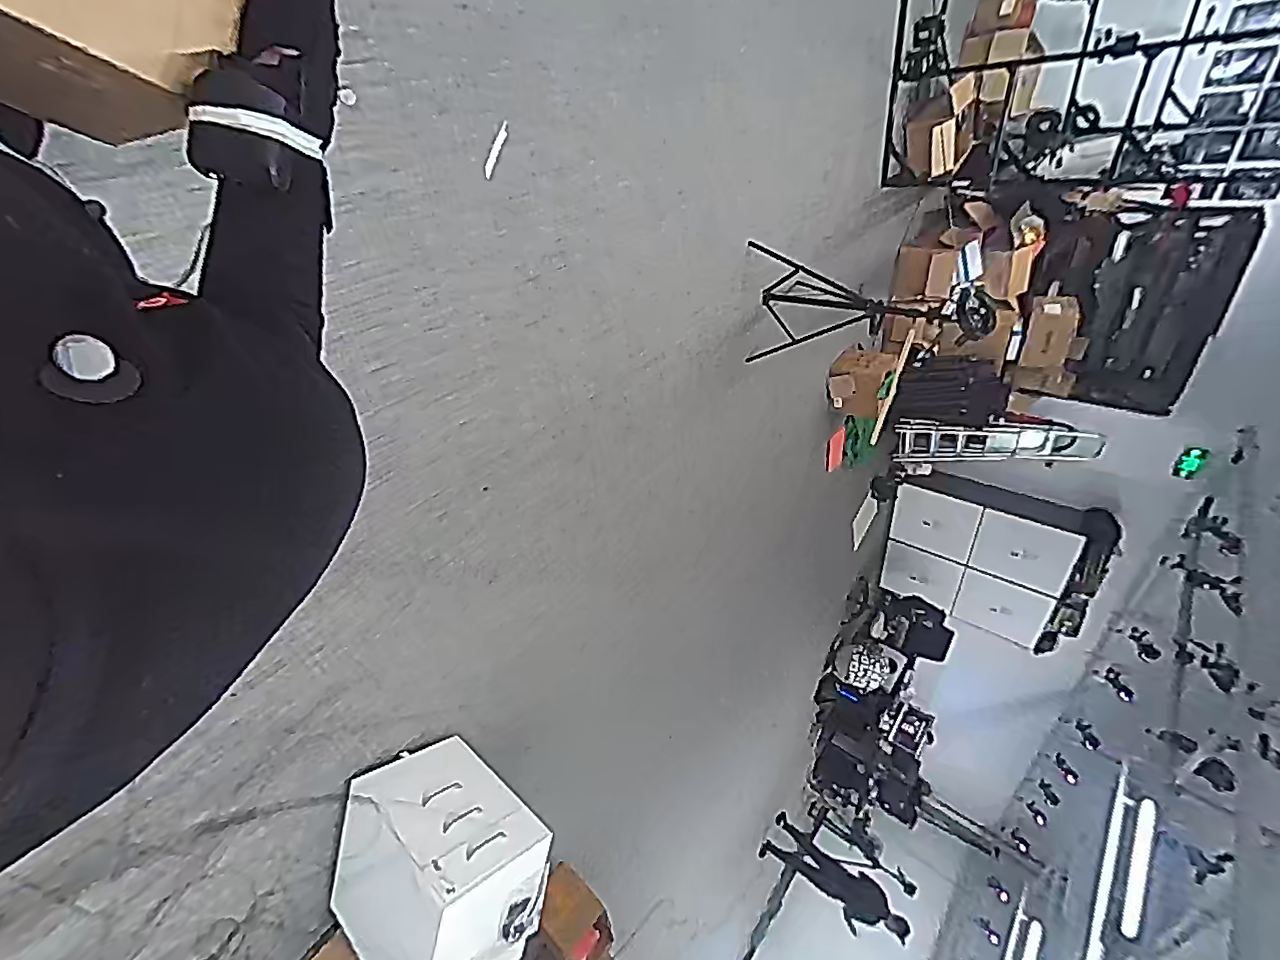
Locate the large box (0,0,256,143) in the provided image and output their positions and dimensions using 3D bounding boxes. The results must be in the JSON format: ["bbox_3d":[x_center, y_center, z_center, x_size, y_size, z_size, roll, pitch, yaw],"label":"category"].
[{"bbox_3d":[-0.496,-0.461,0.305,0.408,0.320,0.320,5,103,-57],"label":"large box"}]
